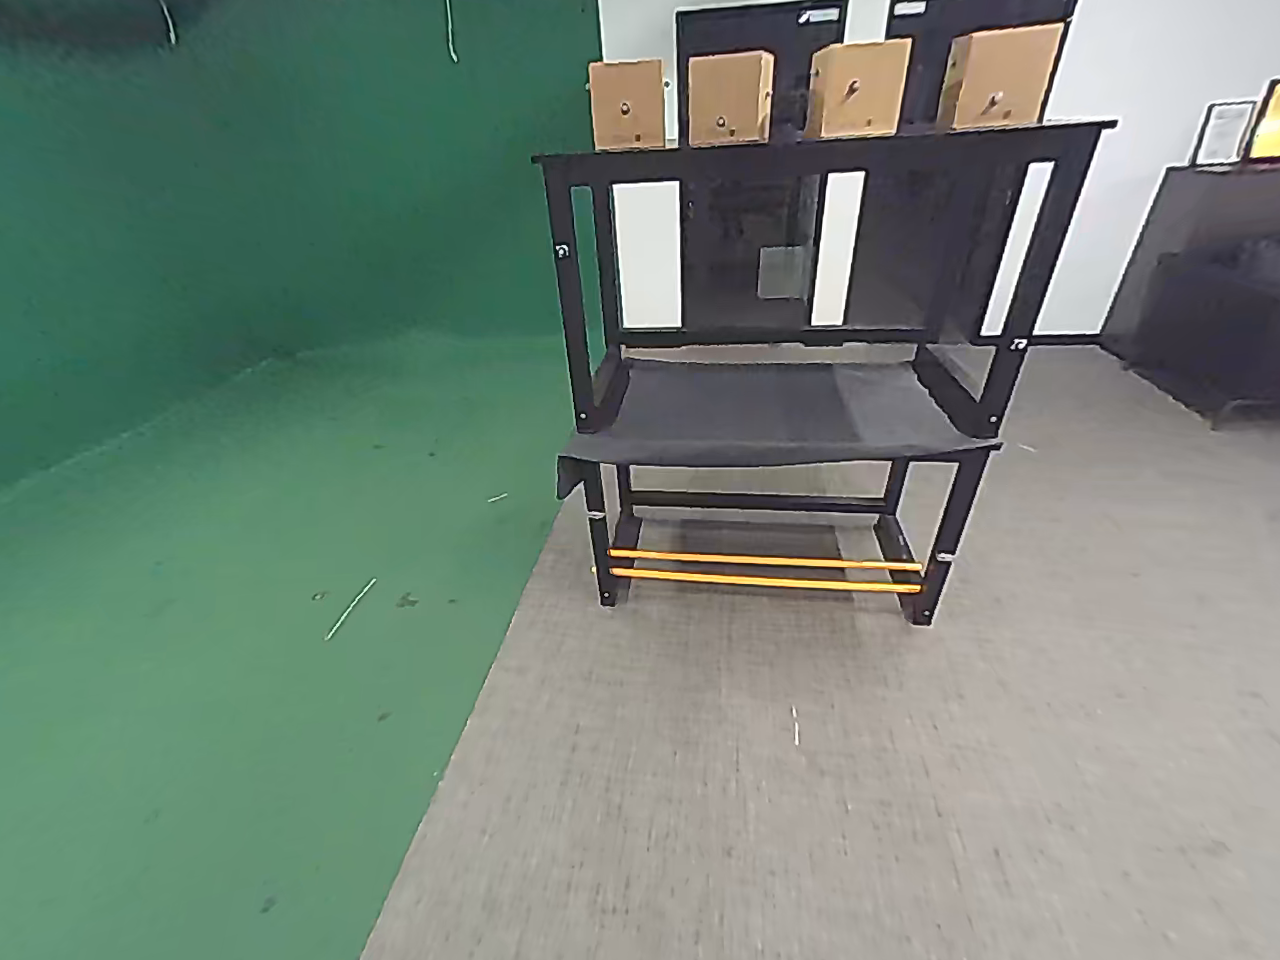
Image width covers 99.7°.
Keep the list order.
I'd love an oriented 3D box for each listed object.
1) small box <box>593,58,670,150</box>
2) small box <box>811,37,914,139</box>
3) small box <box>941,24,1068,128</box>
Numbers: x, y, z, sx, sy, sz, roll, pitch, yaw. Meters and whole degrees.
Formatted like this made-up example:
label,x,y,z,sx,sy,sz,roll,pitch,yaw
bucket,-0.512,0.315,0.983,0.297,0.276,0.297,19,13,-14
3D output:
label,x,y,z,sx,sy,sz,roll,pitch,yaw
small box,-0.014,-0.903,1.308,0.168,0.176,0.179,0,33,5
small box,0.494,-0.881,1.228,0.168,0.176,0.179,-1,33,4
small box,0.785,-0.879,1.189,0.168,0.176,0.179,4,35,13
